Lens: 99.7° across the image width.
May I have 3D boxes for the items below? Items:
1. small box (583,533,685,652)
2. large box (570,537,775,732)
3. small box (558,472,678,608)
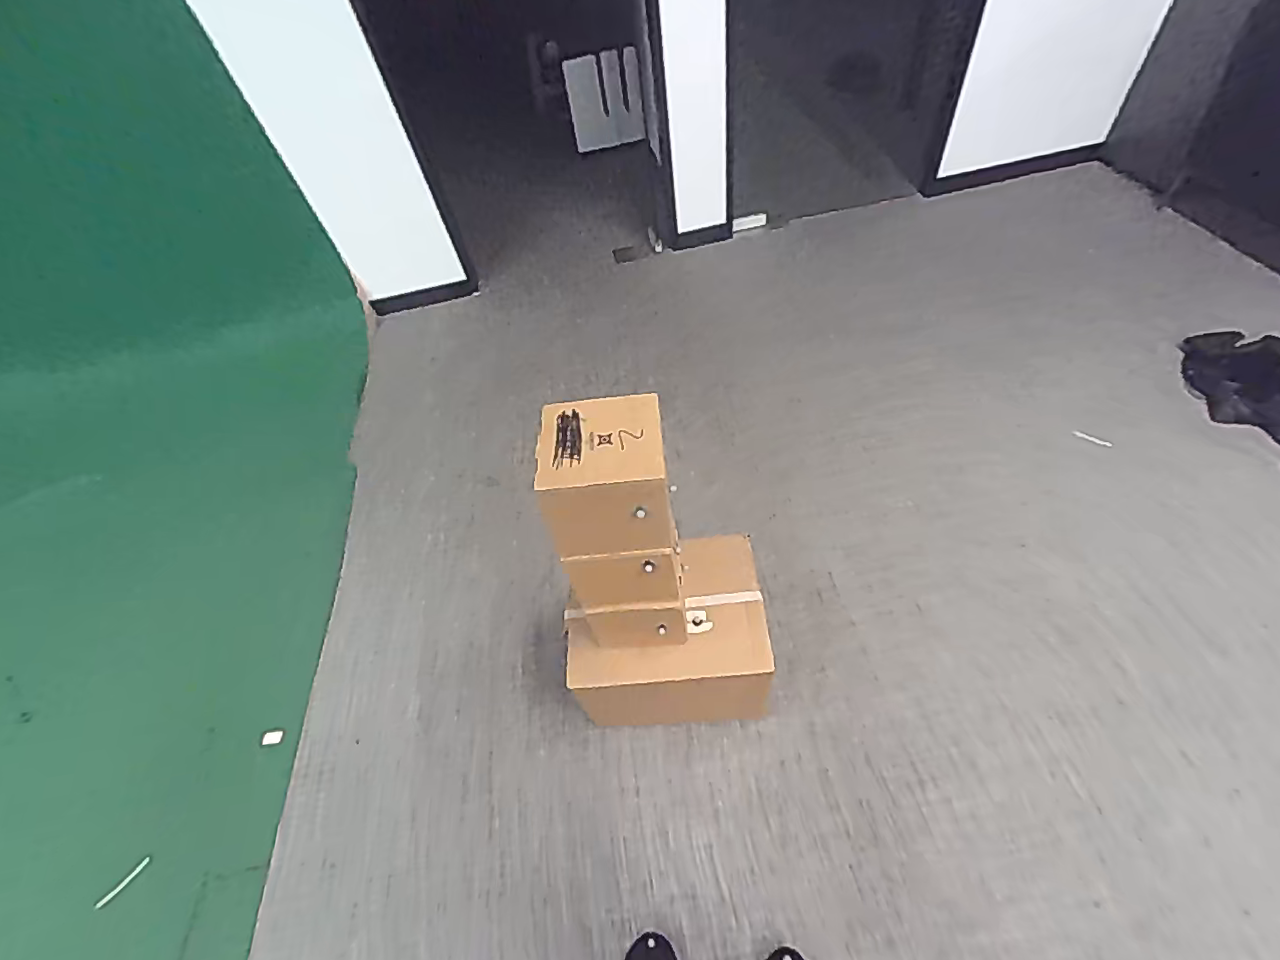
[{"bbox_3d":[-0.005,0.220,1.047,0.179,0.176,0.168,-6,50,5],"label":"small box"},{"bbox_3d":[0.065,0.360,1.237,0.408,0.320,0.320,-6,52,3],"label":"large box"},{"bbox_3d":[-0.032,0.109,0.931,0.179,0.176,0.168,-6,50,3],"label":"small box"}]
